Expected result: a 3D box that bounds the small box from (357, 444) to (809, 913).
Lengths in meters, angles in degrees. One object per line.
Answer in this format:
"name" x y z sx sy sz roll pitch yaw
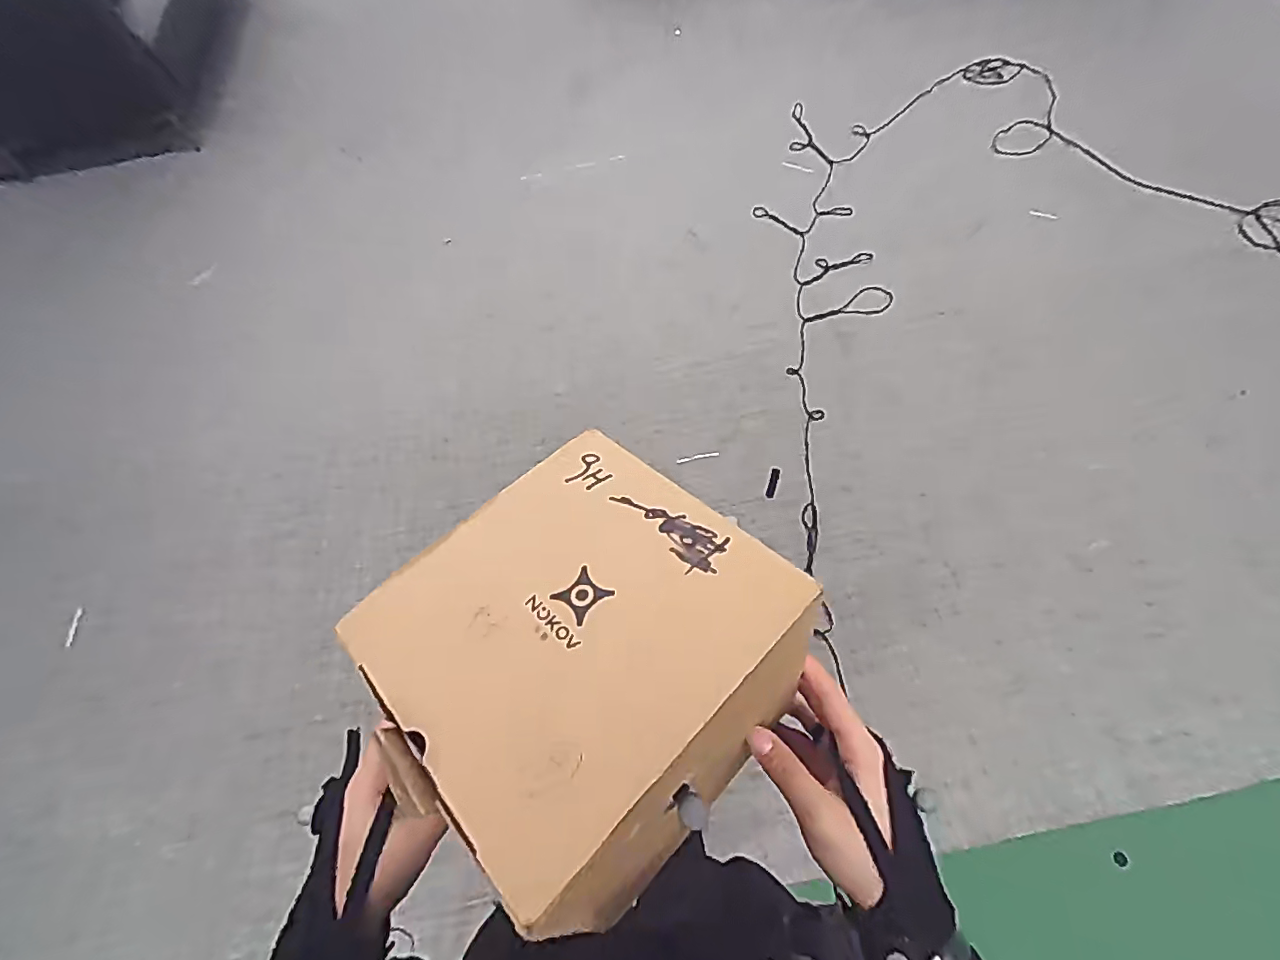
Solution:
"small box" -0.020 0.118 0.329 0.179 0.176 0.168 -41 56 -22
